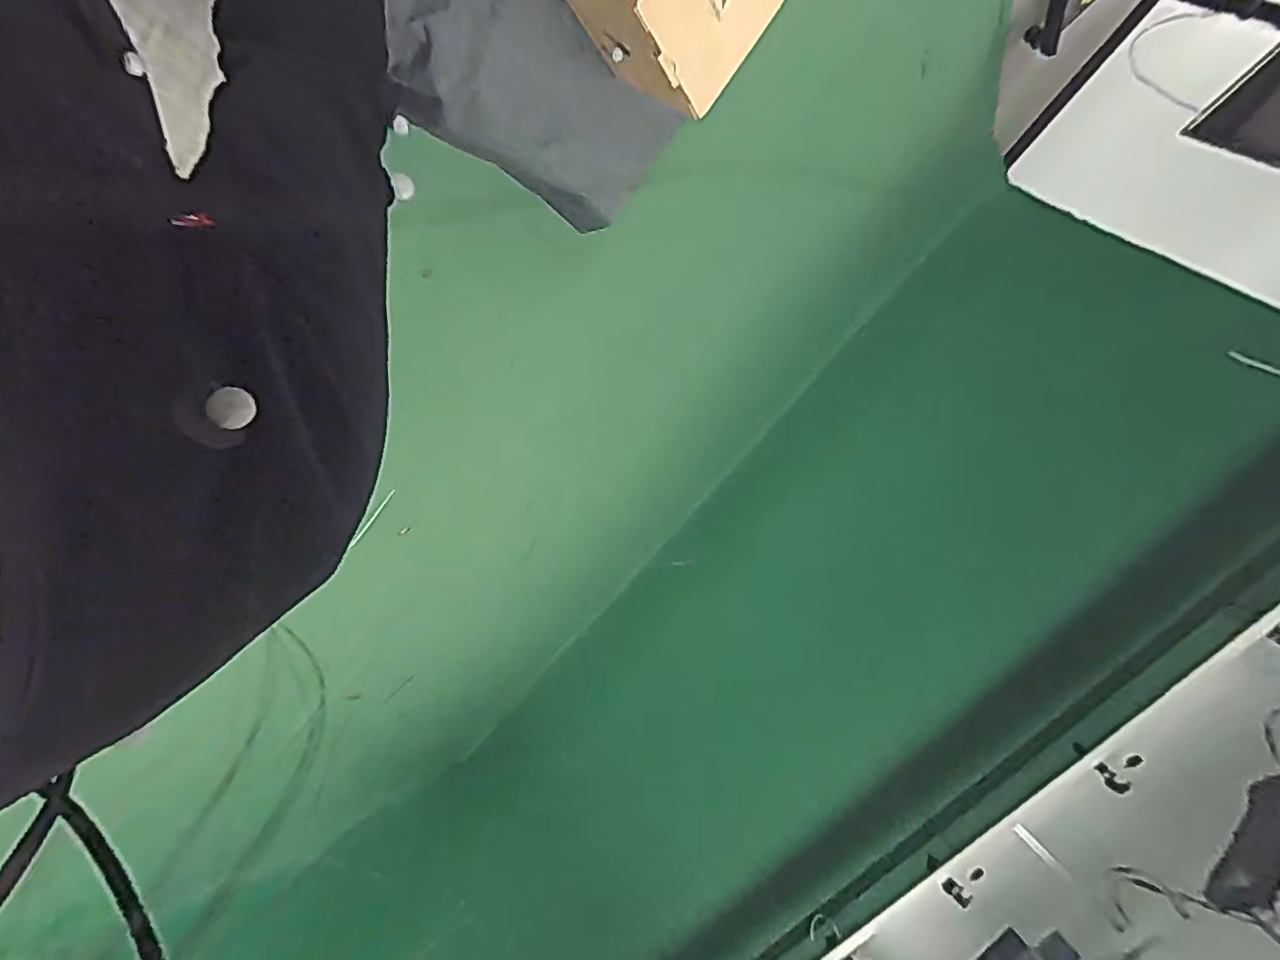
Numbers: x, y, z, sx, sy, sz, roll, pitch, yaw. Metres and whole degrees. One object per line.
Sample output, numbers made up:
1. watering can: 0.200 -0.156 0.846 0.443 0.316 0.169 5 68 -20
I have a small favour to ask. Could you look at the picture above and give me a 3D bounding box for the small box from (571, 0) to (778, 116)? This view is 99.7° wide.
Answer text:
1. small box: 0.030 -0.584 0.627 0.179 0.176 0.168 -50 153 14
